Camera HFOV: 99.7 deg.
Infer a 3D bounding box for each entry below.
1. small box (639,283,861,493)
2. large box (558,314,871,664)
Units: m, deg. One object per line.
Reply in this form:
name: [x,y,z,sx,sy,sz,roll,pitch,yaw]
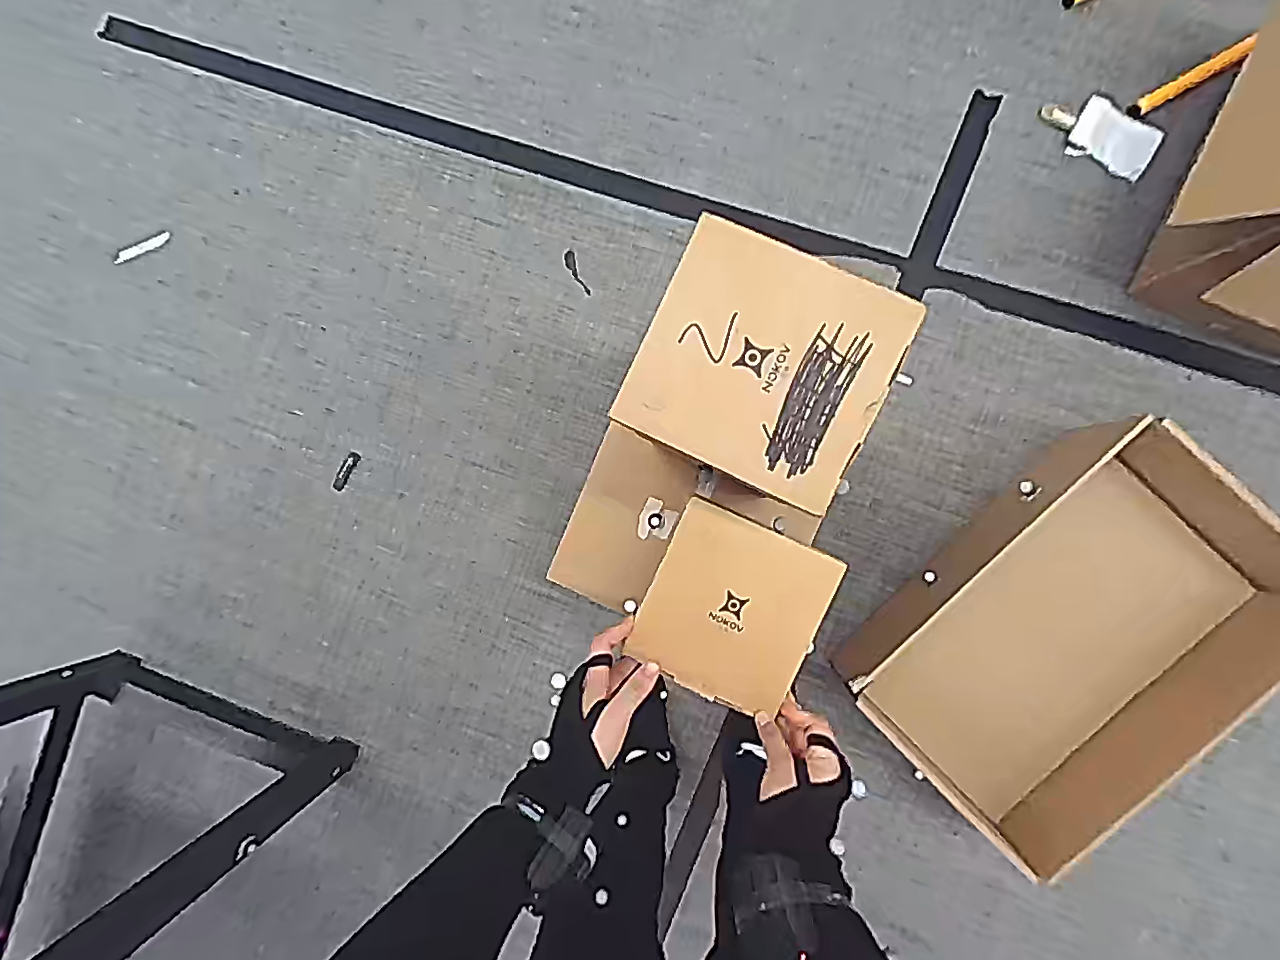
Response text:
small box: [0.118,-0.095,0.628,0.179,0.176,0.168,25,95,5]
large box: [0.110,0.006,0.877,0.320,0.320,0.408,22,93,6]
